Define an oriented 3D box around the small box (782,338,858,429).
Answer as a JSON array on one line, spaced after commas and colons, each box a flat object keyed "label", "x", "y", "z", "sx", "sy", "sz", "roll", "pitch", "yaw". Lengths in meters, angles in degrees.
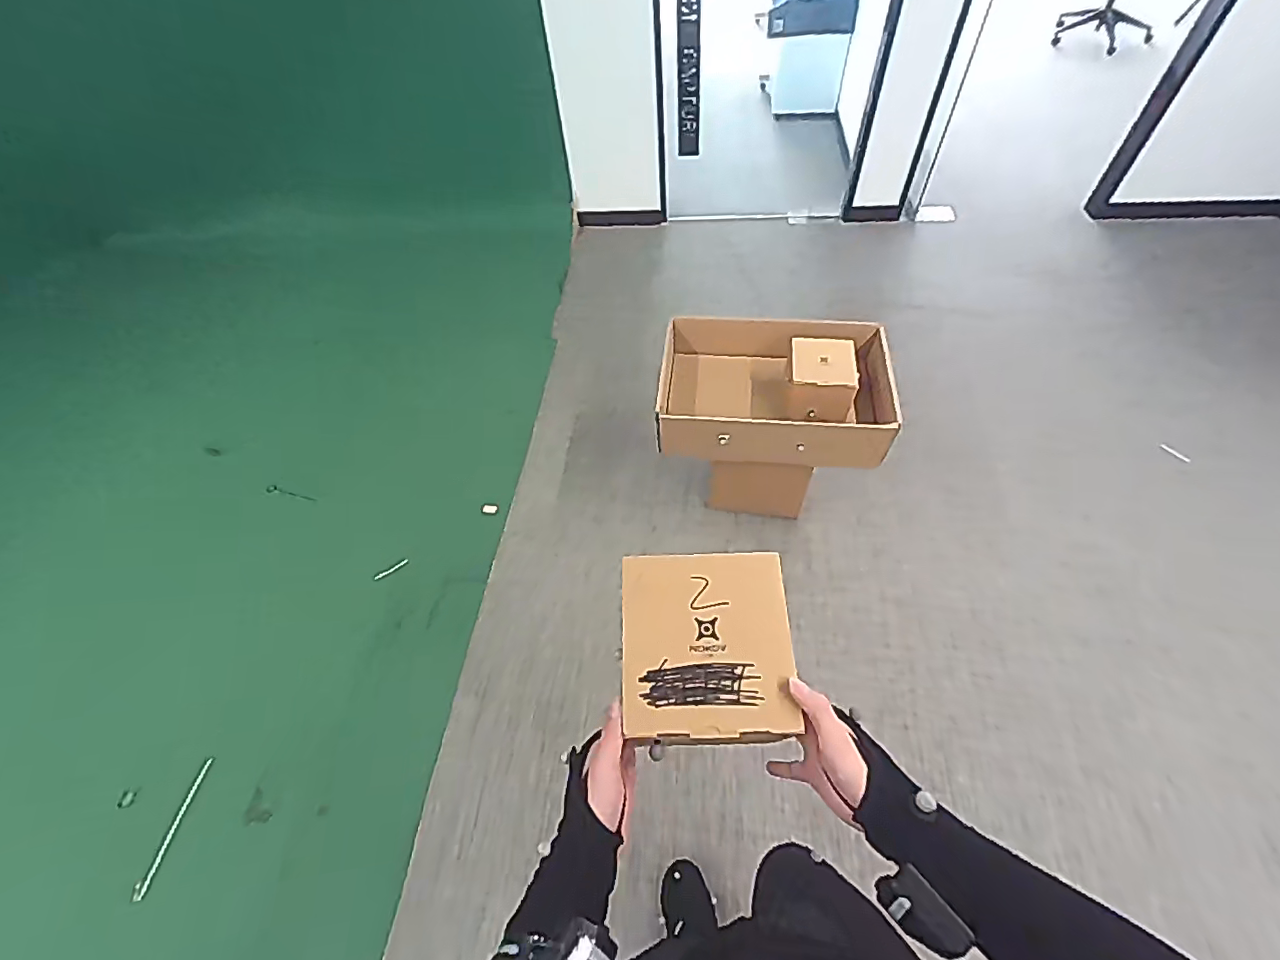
[{"label": "small box", "x": 0.488, "y": -0.266, "z": 1.495, "sx": 0.168, "sy": 0.176, "sz": 0.179, "roll": 5, "pitch": 56, "yaw": 7}]
